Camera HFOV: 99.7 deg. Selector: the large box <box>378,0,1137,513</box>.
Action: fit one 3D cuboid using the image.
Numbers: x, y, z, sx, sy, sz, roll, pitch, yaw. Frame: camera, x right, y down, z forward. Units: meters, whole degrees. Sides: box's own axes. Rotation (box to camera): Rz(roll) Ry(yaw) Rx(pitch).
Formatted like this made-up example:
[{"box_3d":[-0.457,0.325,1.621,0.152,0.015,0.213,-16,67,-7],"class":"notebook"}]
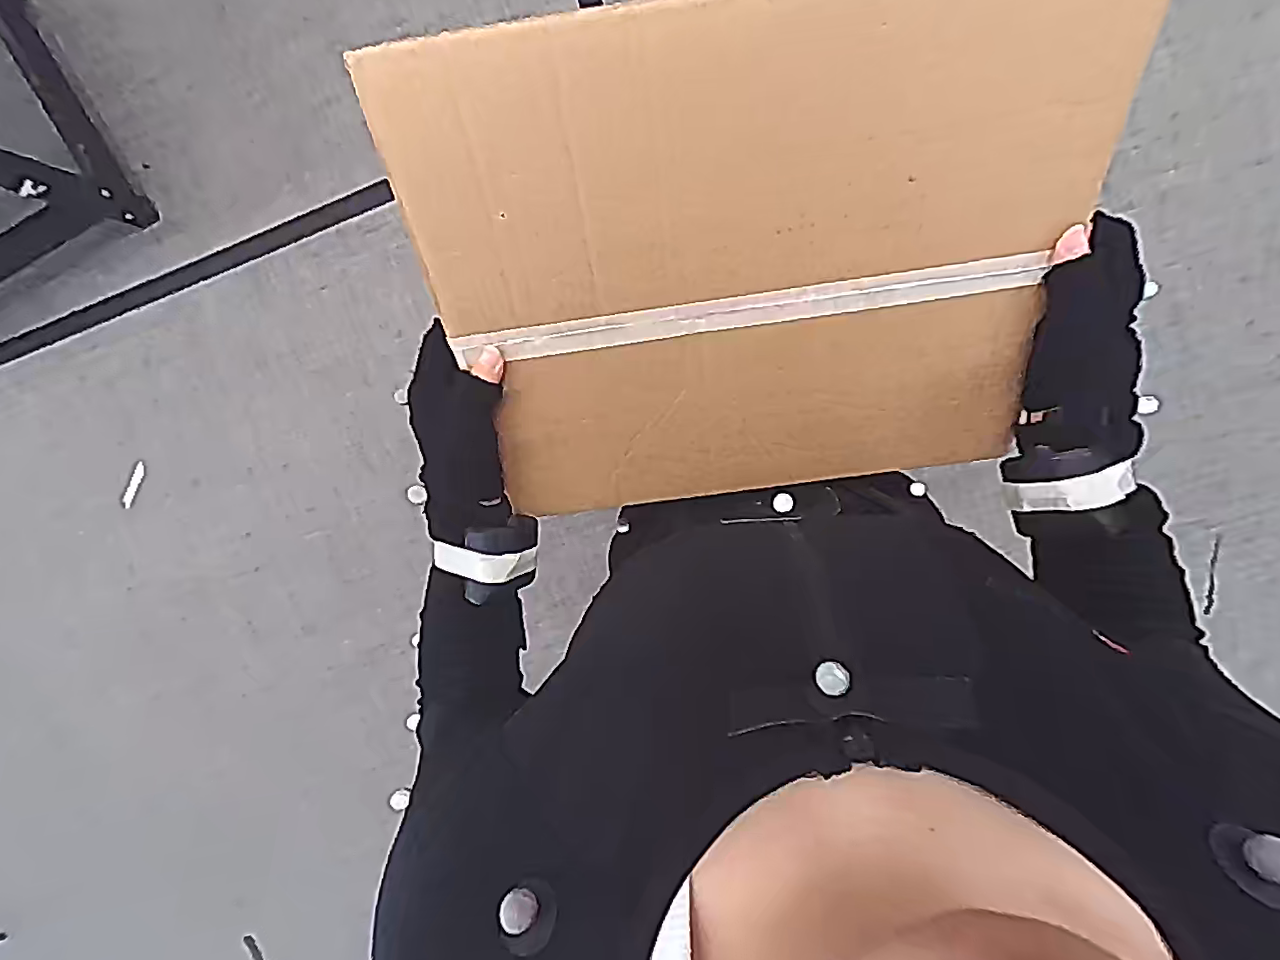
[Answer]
[{"box_3d":[0.068,-0.209,0.483,0.408,0.320,0.320,-8,129,2],"class":"large box"}]
